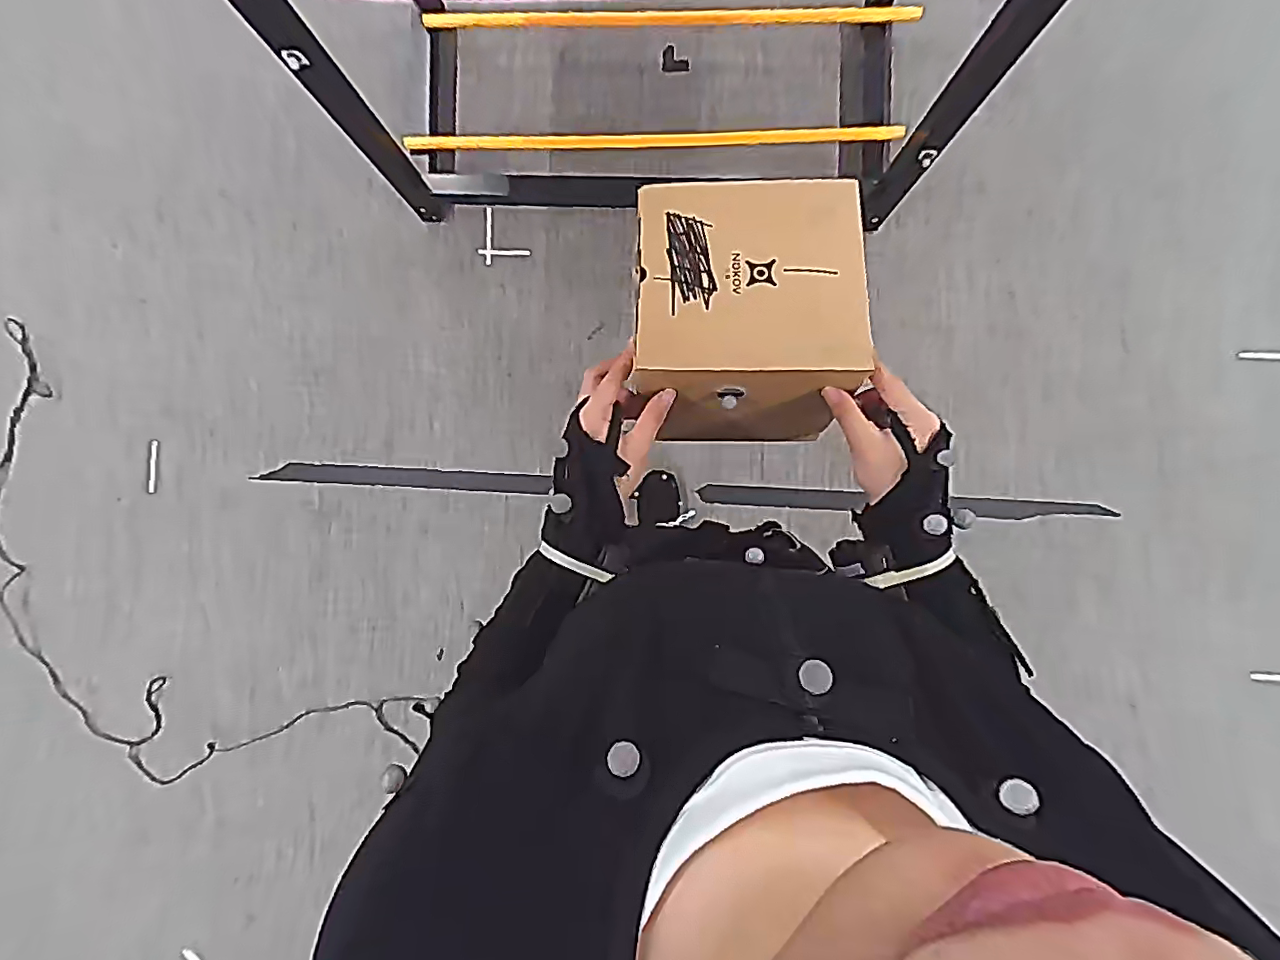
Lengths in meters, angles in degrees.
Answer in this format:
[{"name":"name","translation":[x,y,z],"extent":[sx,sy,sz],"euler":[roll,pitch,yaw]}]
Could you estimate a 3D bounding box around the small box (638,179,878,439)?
[{"name":"small box","translation":[0.093,-0.140,0.491],"extent":[0.179,0.176,0.168],"euler":[1,76,3]}]
